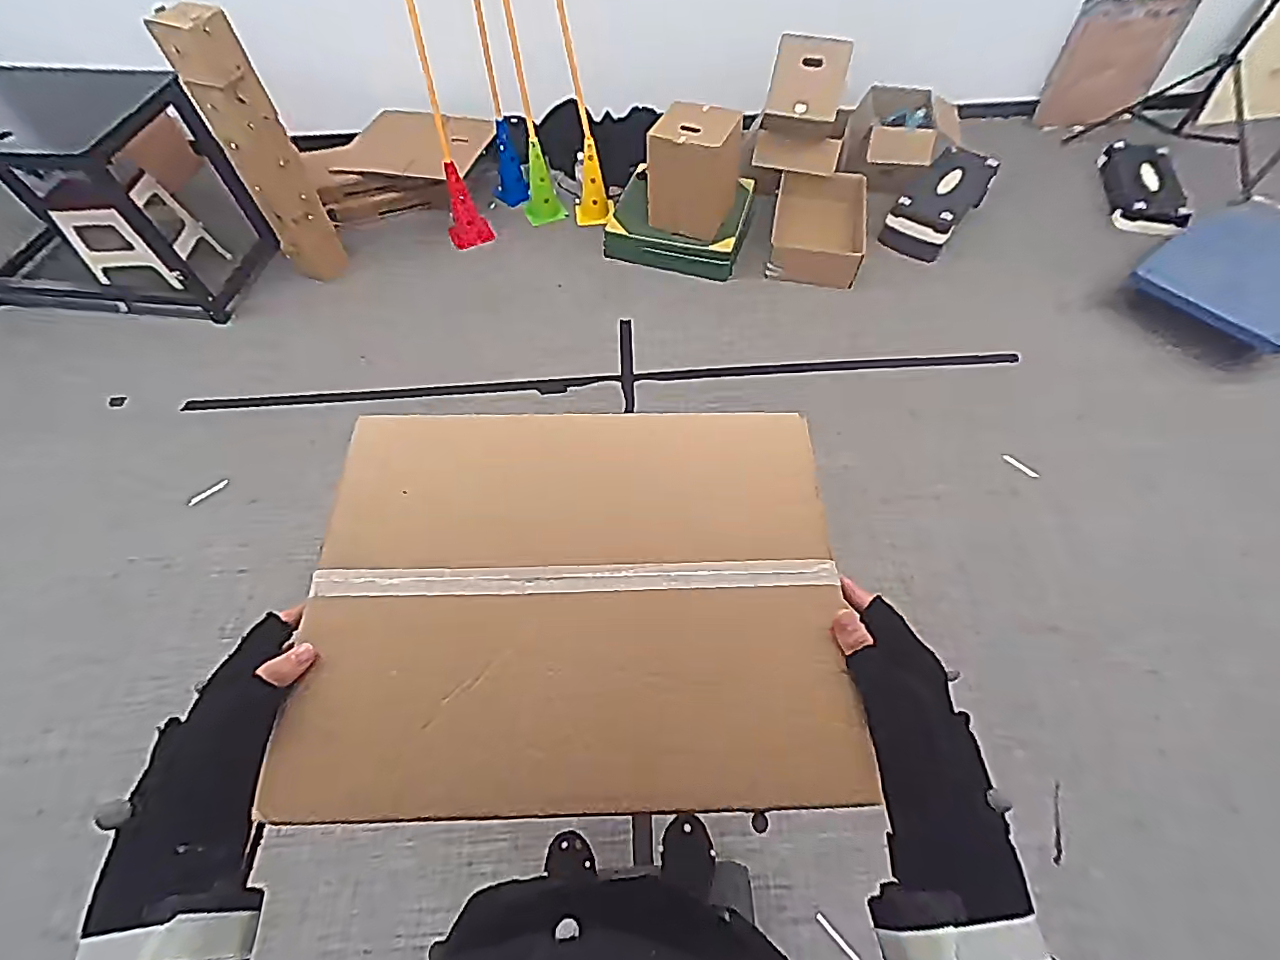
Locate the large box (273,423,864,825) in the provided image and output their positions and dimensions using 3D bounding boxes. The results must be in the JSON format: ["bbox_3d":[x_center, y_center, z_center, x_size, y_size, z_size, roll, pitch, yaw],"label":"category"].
[{"bbox_3d":[-0.051,0.154,0.561,0.408,0.320,0.320,0,61,-2],"label":"large box"}]

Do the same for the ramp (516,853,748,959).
[{"bbox_3d":[0.001,1.306,1.013,0.509,0.206,0.991,-3,59,-3],"label":"ramp"}]
